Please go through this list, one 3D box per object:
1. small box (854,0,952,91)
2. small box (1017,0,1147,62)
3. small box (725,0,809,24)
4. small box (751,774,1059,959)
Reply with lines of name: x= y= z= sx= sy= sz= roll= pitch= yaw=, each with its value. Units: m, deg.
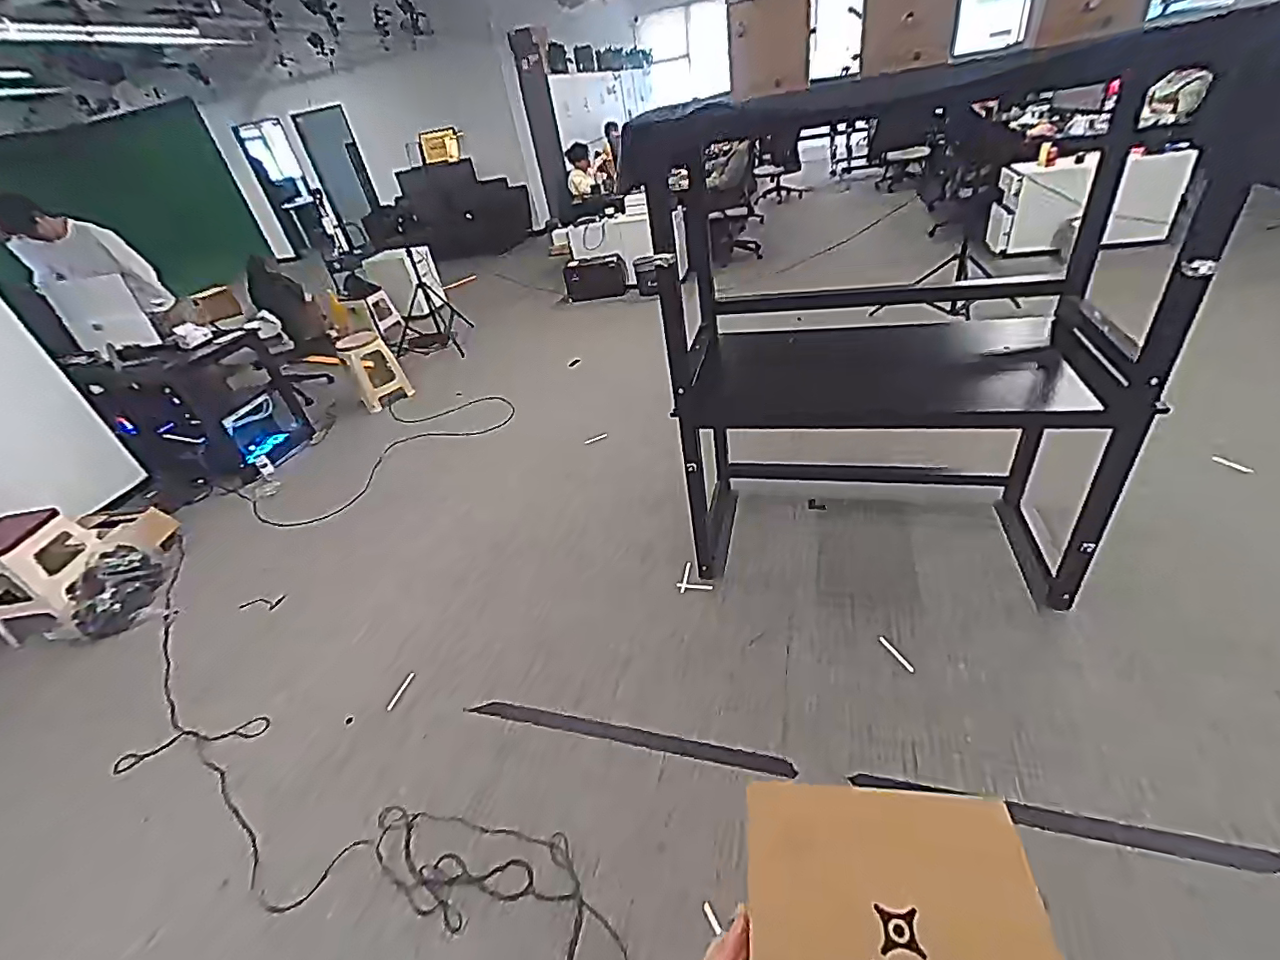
small box: x=0.538 y=-0.920 z=1.118 sx=0.168 sy=0.176 sz=0.179 roll=3 pitch=35 yaw=17
small box: x=0.836 y=-0.907 z=1.020 sx=0.168 sy=0.176 sz=0.179 roll=5 pitch=38 yaw=22
small box: x=0.260 y=-1.061 z=1.109 sx=0.168 sy=0.176 sz=0.179 roll=1 pitch=36 yaw=18
small box: x=0.157 y=0.327 z=0.353 sx=0.168 sy=0.176 sz=0.179 roll=-2 pitch=36 yaw=12
